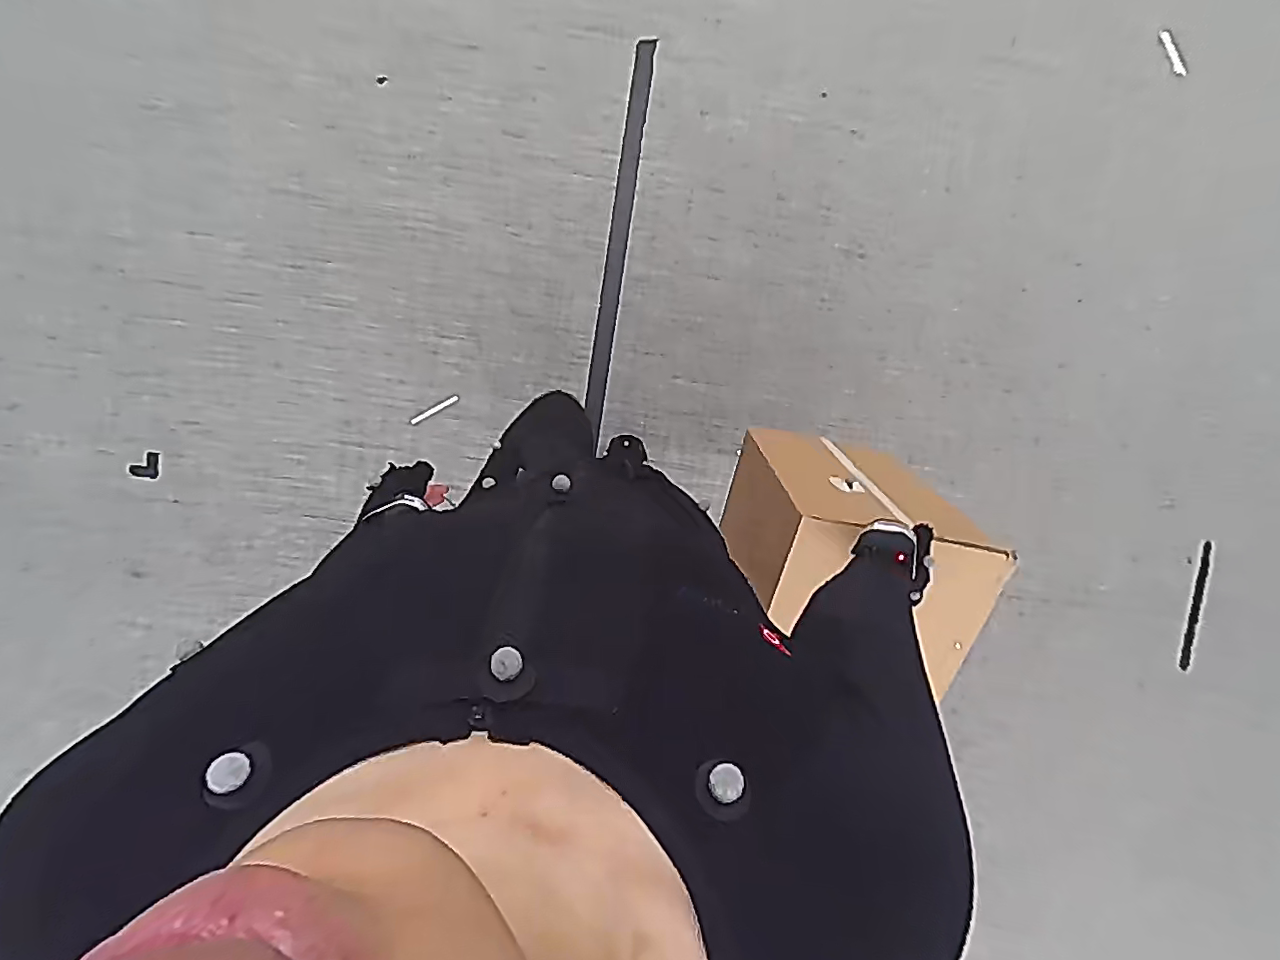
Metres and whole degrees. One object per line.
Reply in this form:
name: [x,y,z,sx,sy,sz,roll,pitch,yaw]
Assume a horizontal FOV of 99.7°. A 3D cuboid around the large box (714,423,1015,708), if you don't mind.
large box: [0.342,0.129,0.976,0.320,0.408,0.320,10,114,-5]
